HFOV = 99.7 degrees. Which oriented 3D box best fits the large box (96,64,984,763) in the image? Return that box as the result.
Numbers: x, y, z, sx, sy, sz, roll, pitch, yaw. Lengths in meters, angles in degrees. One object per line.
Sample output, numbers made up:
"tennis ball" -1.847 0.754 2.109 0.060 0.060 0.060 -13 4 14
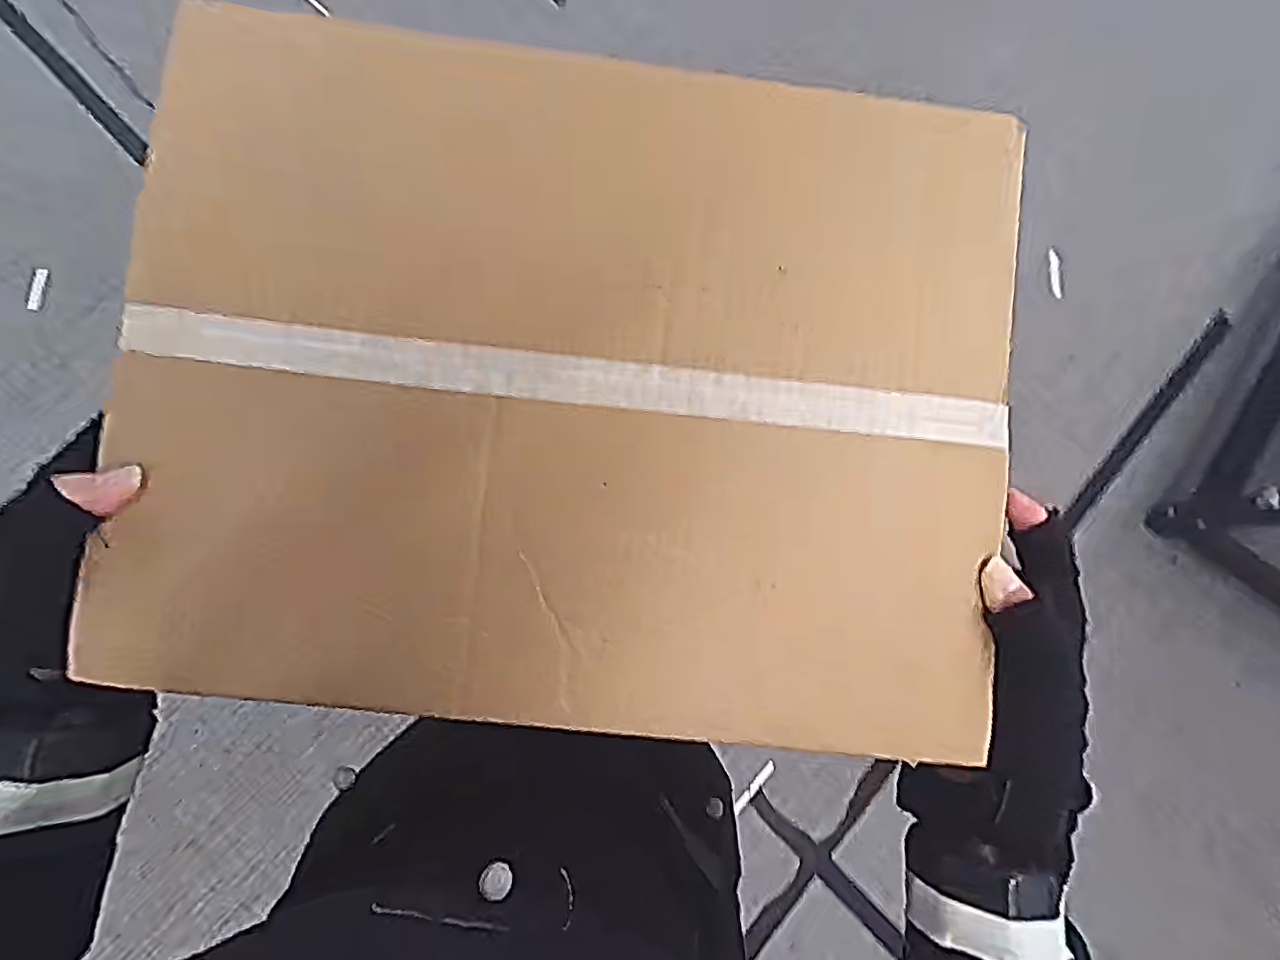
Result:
"large box" -0.040 -0.025 0.406 0.408 0.320 0.320 6 86 -2
